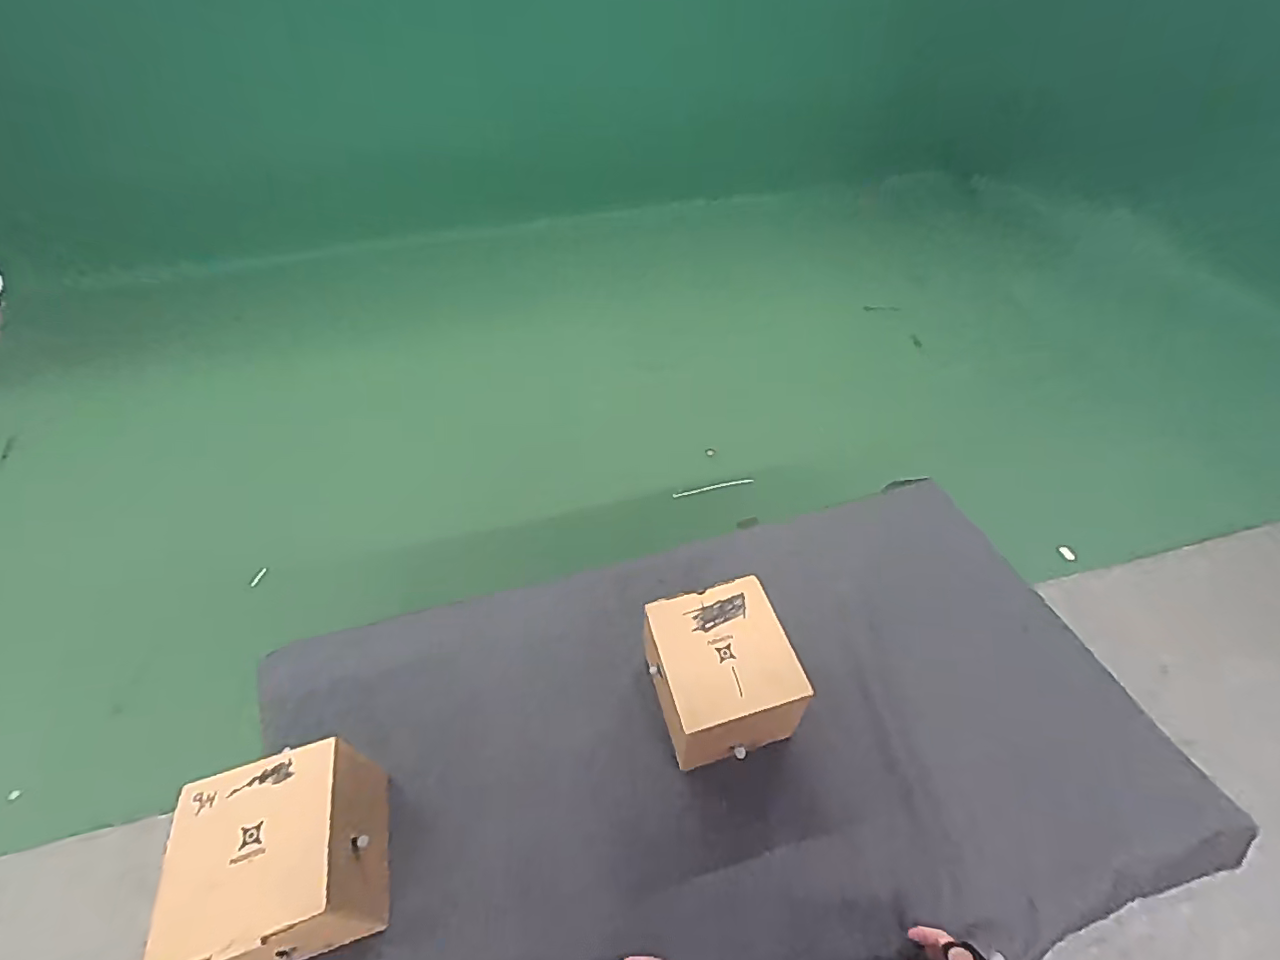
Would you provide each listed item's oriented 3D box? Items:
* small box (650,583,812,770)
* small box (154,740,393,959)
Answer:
[{"bbox_3d":[0.111,0.275,0.758,0.168,0.176,0.179,-13,51,-9],"label":"small box"},{"bbox_3d":[-0.400,0.437,0.628,0.168,0.176,0.179,-14,50,-11],"label":"small box"}]
